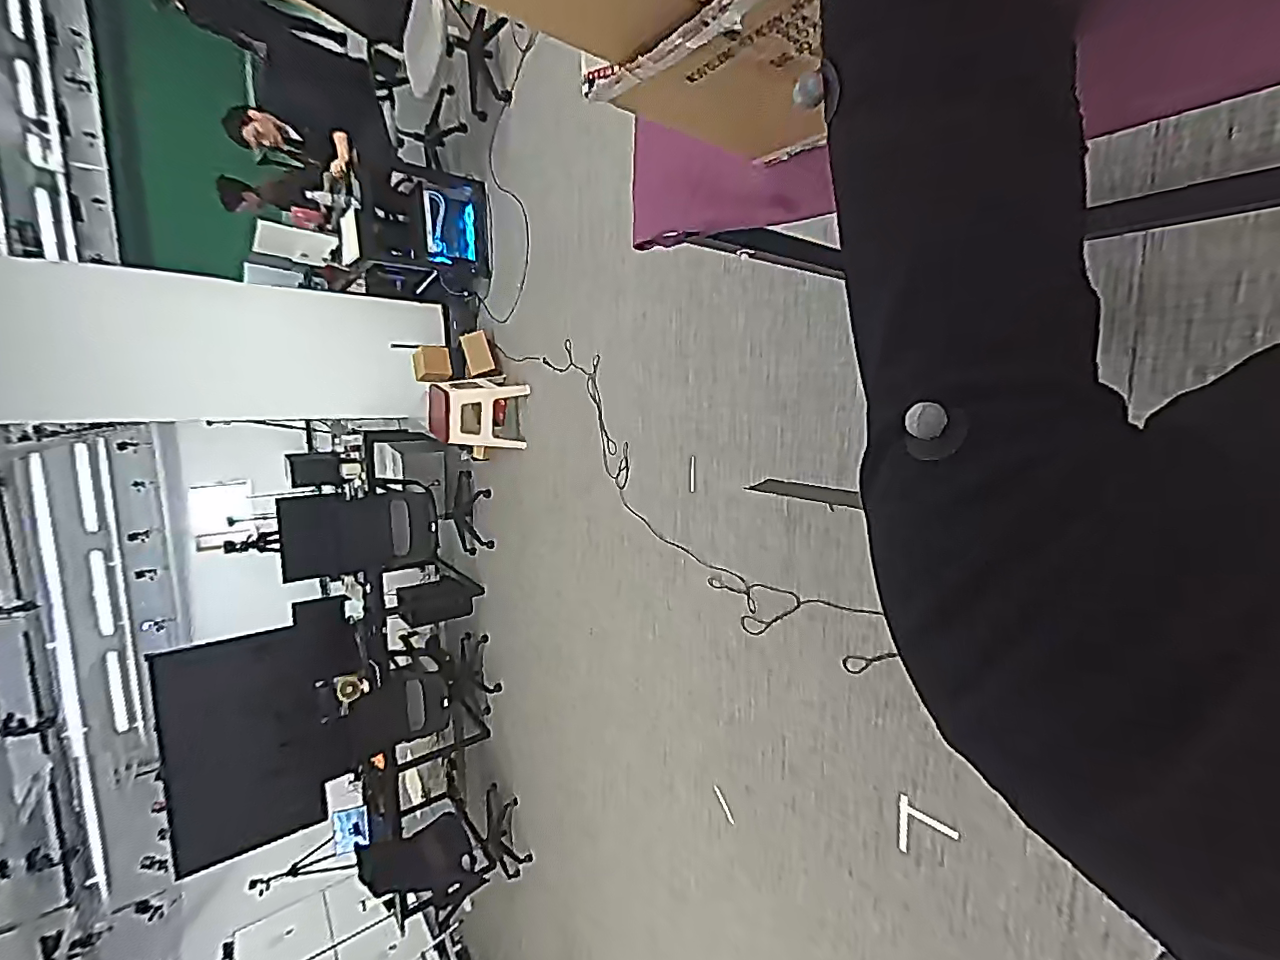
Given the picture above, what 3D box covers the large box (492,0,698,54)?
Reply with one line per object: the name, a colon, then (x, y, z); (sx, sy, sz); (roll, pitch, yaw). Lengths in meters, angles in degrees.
large box: (-0.049, -0.642, 0.381); (0.320, 0.320, 0.408); (15, 108, 56)
